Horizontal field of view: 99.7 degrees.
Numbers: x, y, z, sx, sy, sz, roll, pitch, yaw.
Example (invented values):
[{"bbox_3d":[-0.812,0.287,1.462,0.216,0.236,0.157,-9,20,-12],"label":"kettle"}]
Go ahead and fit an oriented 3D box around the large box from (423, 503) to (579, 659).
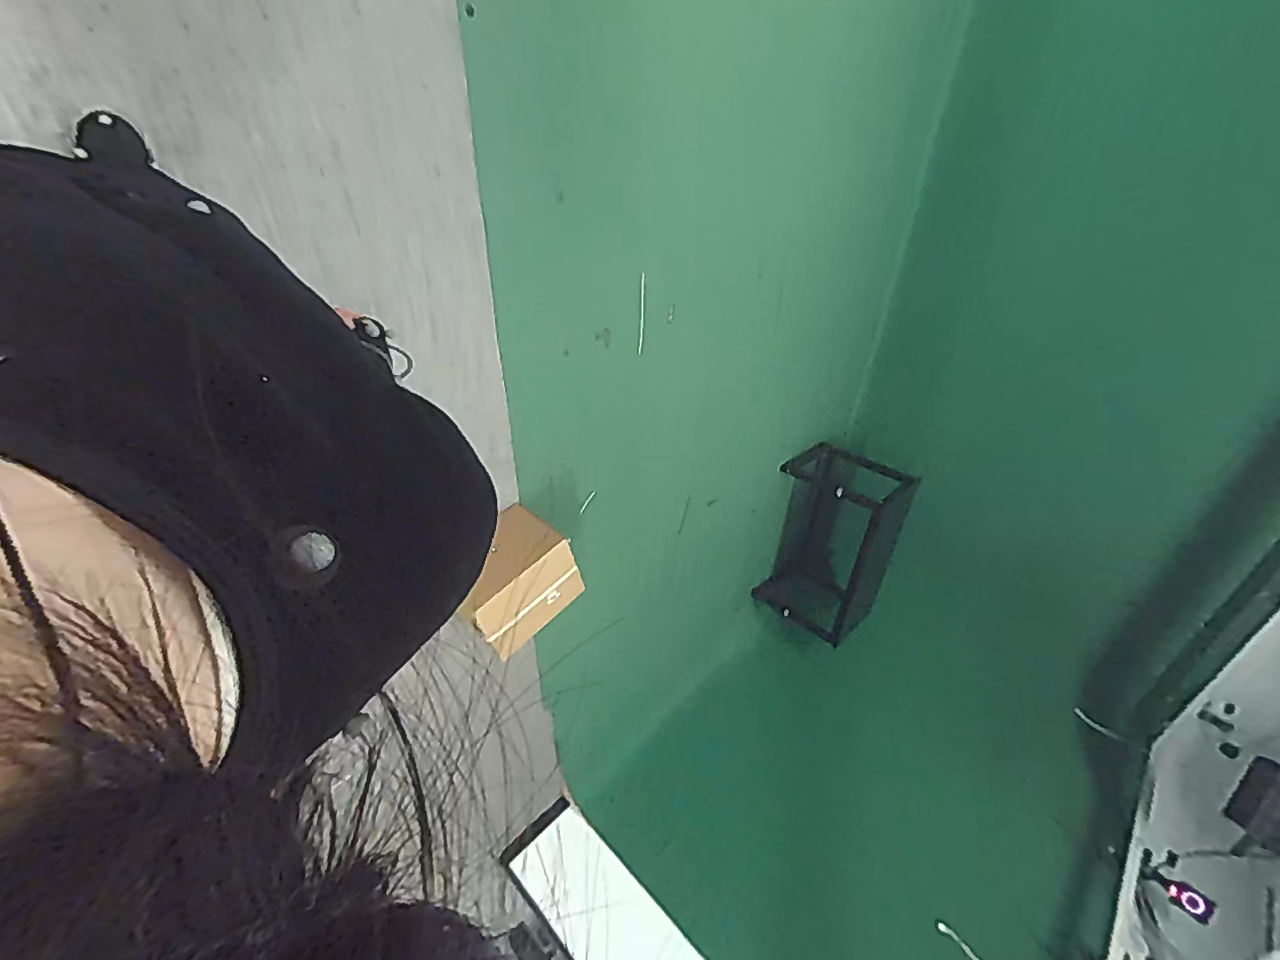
[{"bbox_3d":[-0.499,0.359,1.990,0.408,0.320,0.320,-41,141,-28],"label":"large box"}]
